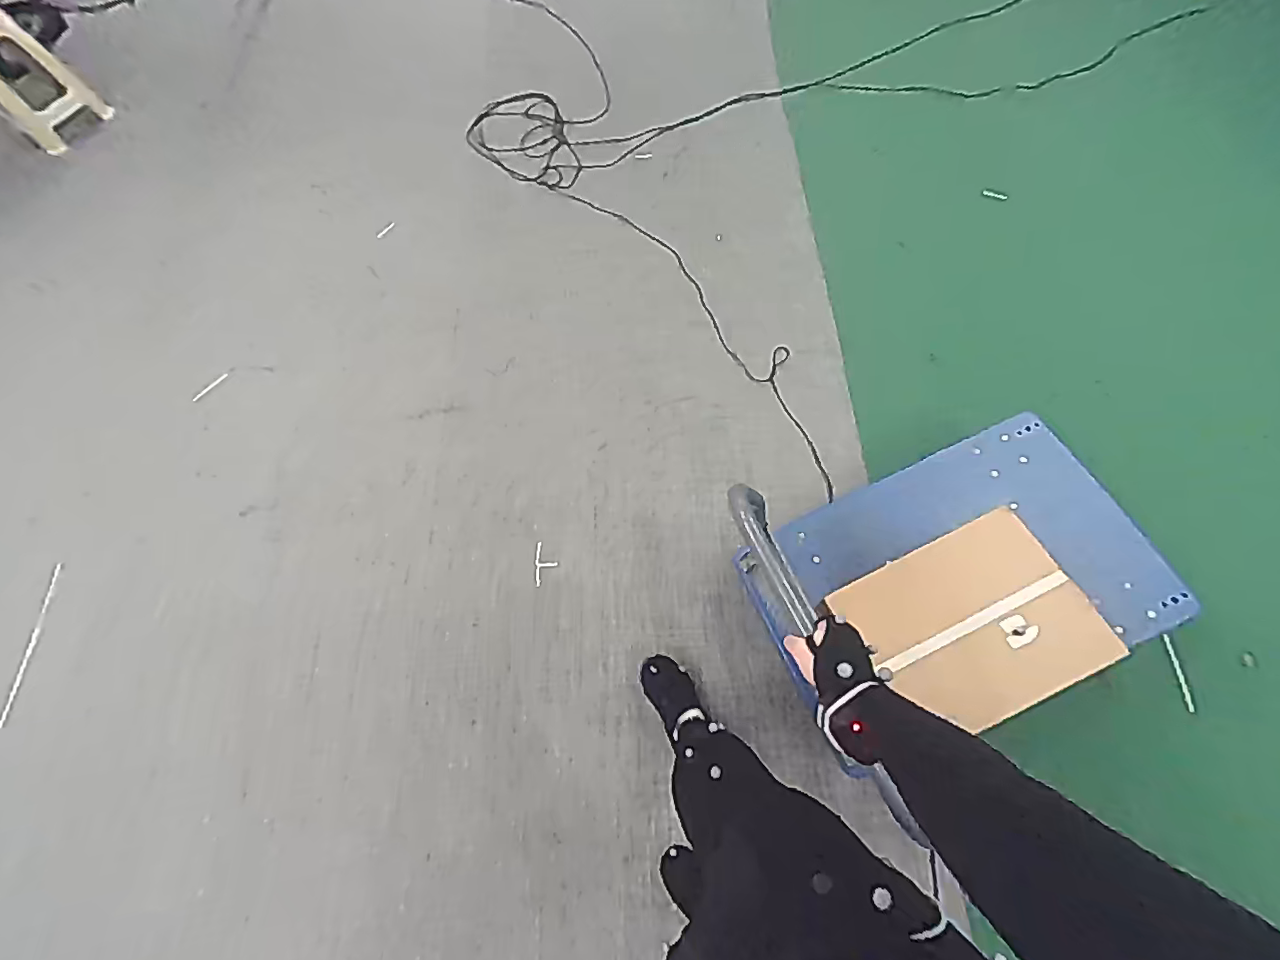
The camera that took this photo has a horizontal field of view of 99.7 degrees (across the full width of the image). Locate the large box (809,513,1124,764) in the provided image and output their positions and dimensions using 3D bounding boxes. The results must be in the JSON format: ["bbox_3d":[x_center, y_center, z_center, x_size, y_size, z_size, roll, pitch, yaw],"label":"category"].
[{"bbox_3d":[0.619,0.330,1.118,0.408,0.320,0.320,-26,67,-1],"label":"large box"}]
